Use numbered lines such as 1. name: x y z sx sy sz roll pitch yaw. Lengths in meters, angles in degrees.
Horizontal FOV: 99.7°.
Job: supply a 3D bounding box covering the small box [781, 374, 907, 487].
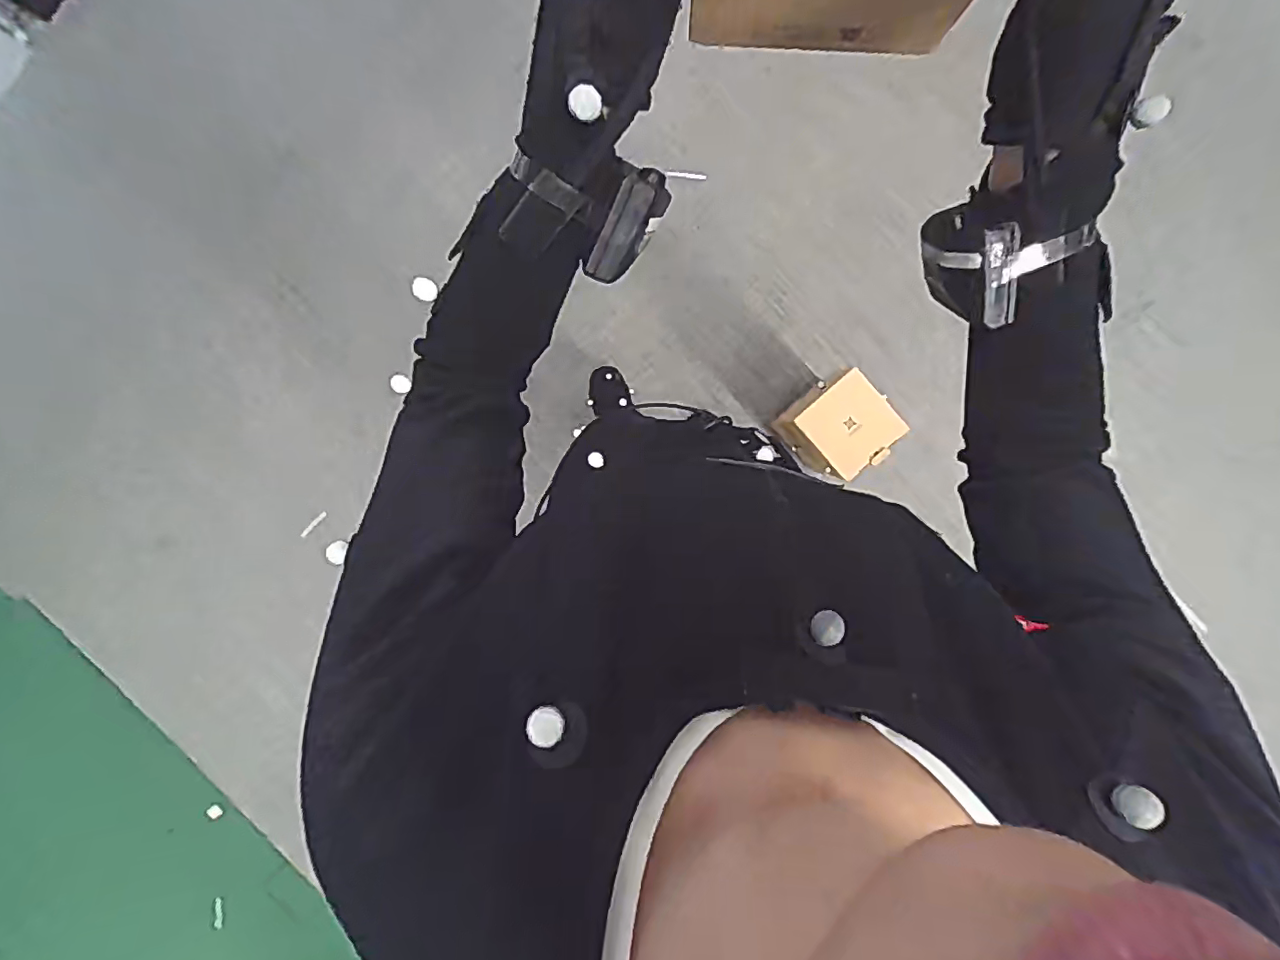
1. small box: 0.434 -0.108 1.185 0.168 0.176 0.179 -42 92 8
